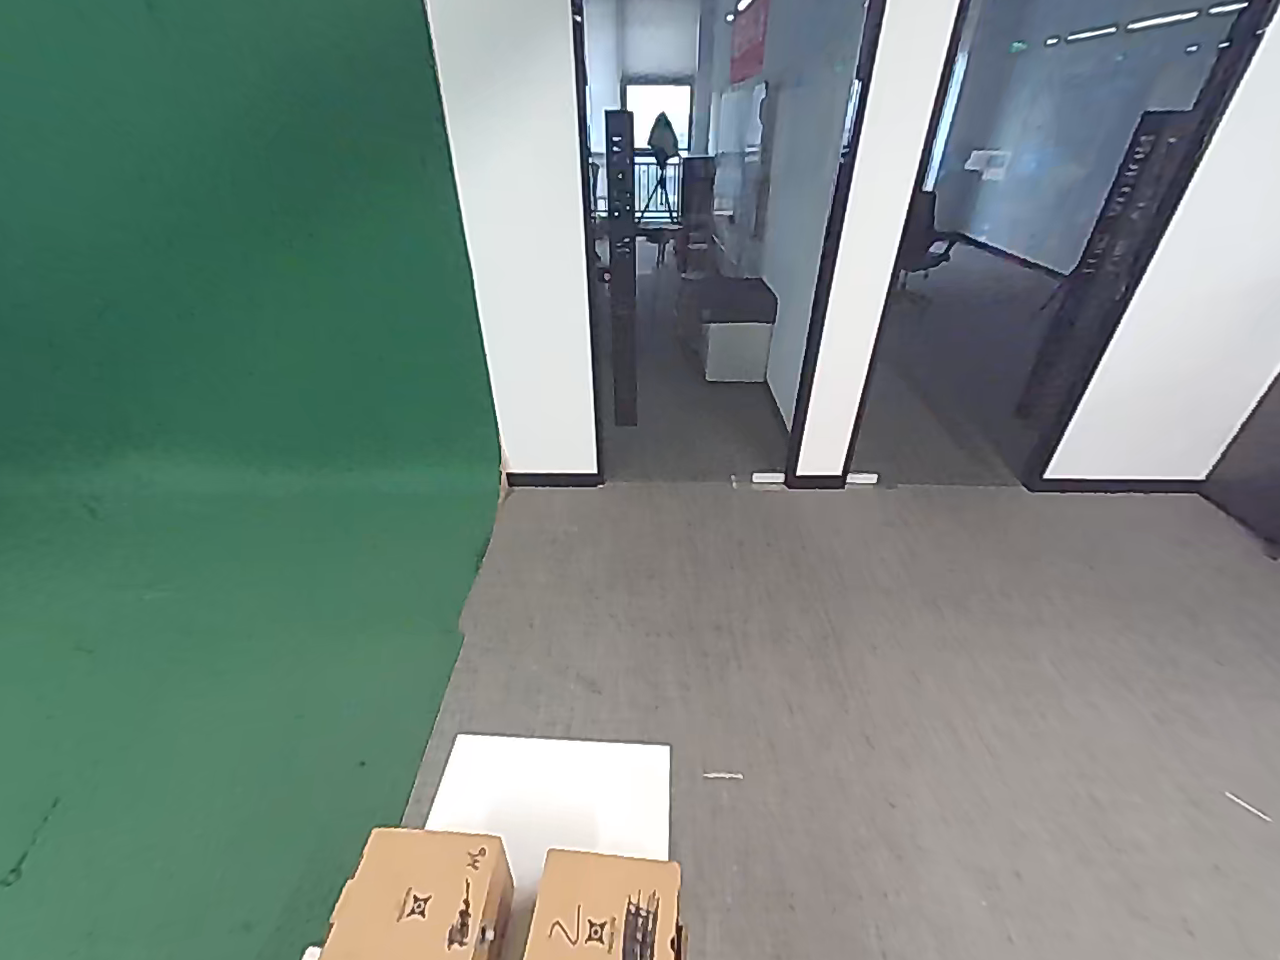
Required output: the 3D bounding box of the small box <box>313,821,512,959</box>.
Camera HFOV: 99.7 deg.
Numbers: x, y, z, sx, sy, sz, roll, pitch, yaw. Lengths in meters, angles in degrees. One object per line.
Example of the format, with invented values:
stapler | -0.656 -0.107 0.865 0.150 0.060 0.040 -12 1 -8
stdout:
small box | -0.279 0.575 0.703 0.179 0.176 0.168 3 35 2
